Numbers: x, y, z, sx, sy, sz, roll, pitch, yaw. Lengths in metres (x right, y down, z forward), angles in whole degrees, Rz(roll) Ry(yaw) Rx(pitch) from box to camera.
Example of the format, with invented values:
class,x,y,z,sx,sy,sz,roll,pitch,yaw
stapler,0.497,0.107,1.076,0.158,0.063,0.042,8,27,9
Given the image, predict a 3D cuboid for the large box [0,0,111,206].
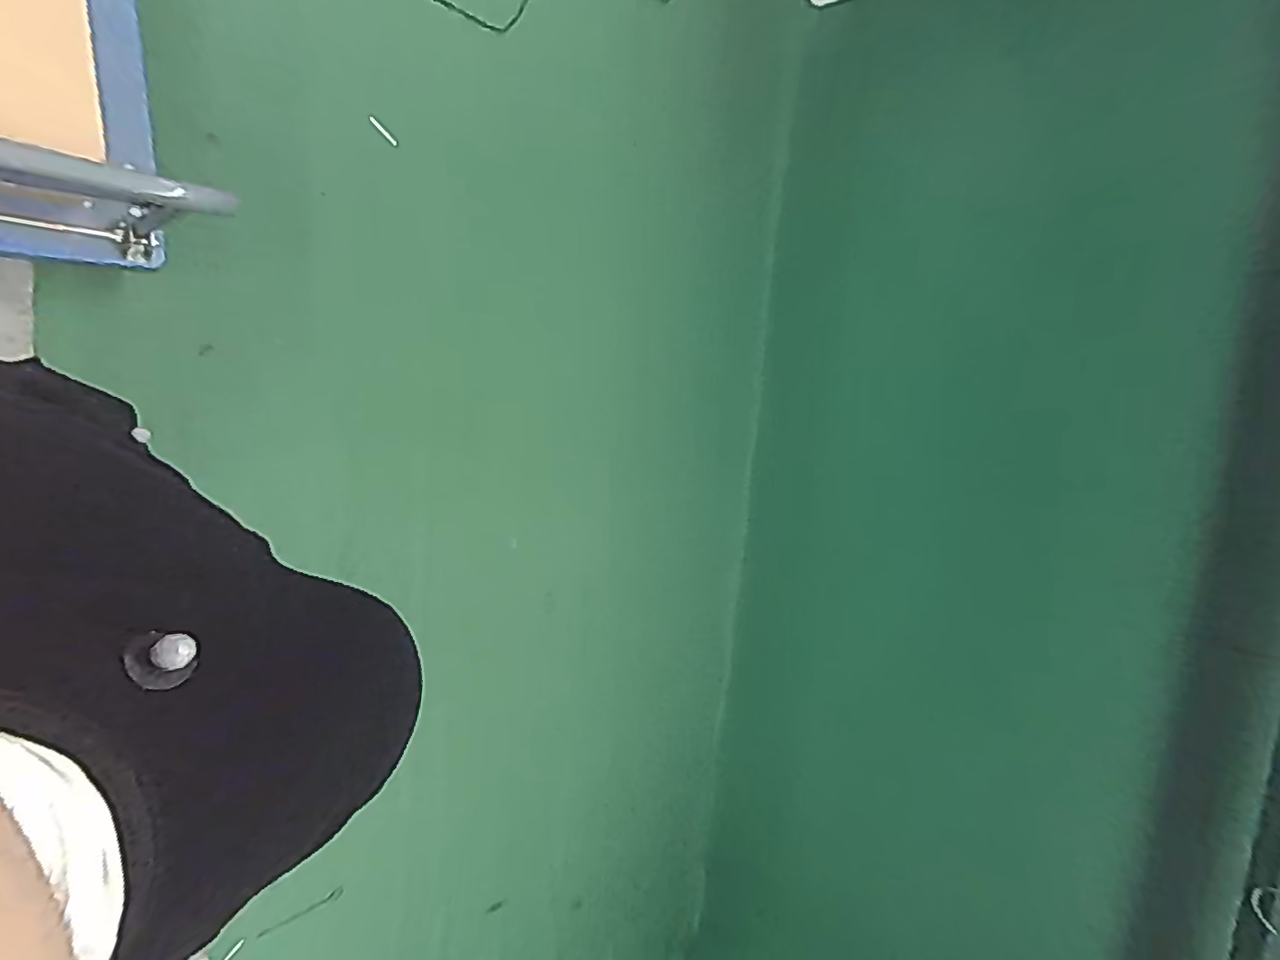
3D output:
class,x,y,z,sx,sy,sz,roll,pitch,yaw
large box,-1.021,-0.666,0.772,0.320,0.320,0.408,-11,104,-50
